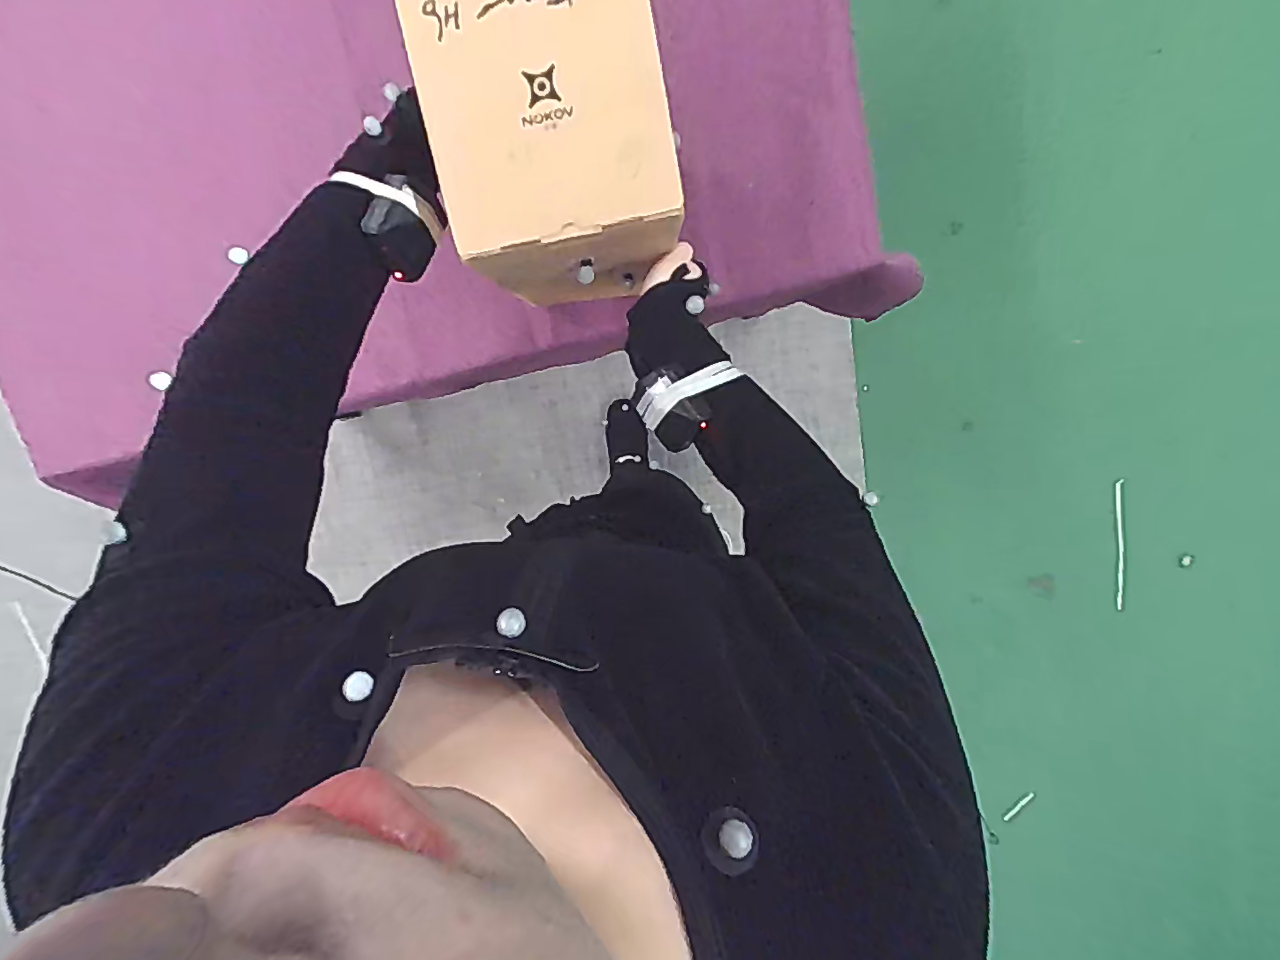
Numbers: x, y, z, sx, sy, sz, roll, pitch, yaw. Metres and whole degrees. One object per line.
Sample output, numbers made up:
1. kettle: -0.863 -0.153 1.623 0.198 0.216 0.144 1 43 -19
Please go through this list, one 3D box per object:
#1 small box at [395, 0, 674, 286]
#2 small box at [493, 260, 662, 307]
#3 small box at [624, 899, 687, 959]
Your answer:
1. small box: -0.067 -0.267 0.449 0.168 0.176 0.179 -10 101 3
2. small box: -0.069 -0.297 0.609 0.179 0.176 0.168 -6 101 2
3. small box: 0.053 1.453 1.686 0.179 0.176 0.168 -9 101 4
